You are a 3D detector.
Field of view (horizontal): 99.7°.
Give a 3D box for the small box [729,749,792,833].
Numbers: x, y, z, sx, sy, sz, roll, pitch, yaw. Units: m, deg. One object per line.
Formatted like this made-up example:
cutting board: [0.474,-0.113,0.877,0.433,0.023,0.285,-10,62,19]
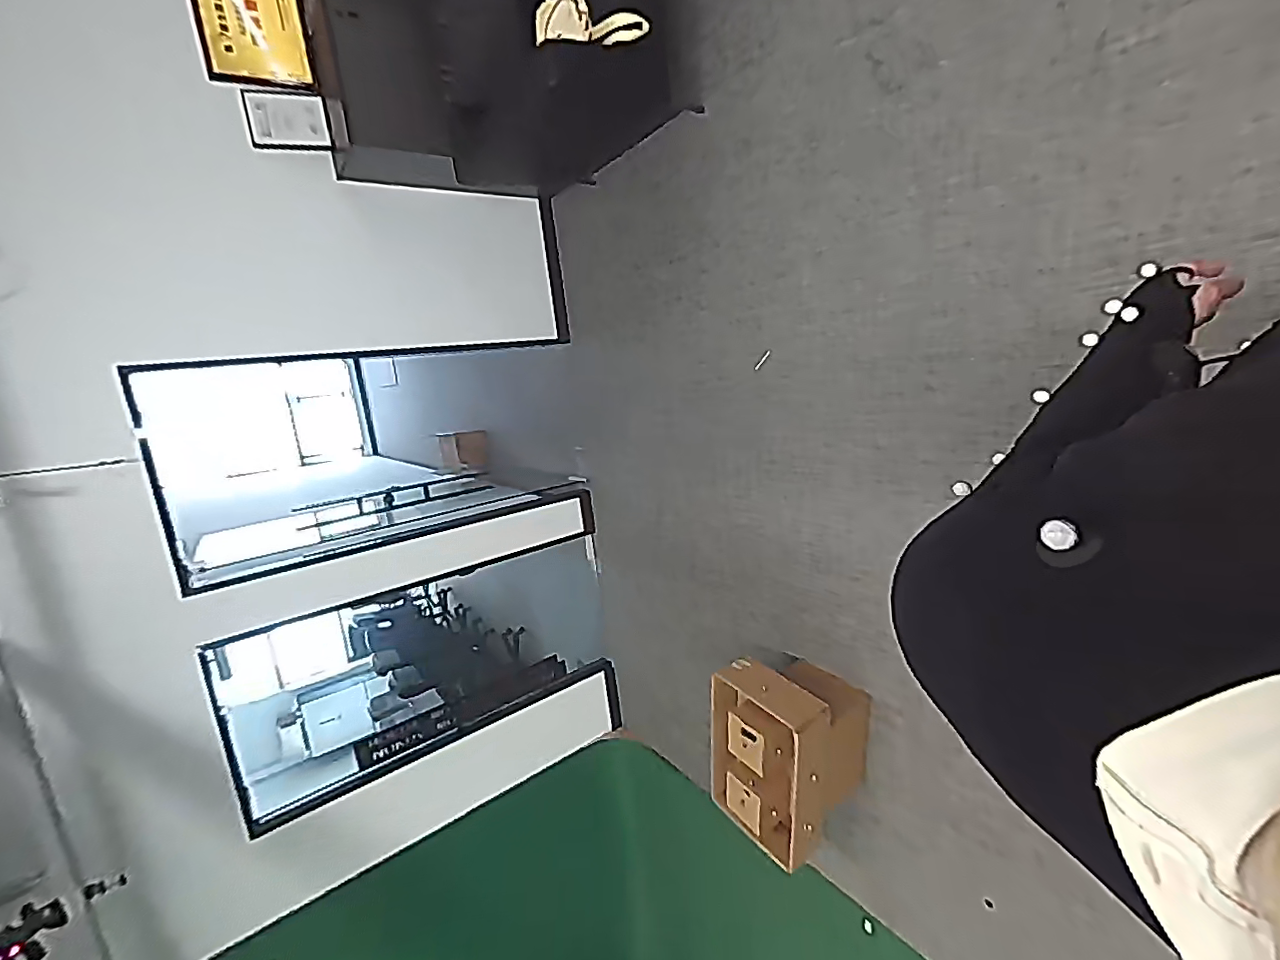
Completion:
small box: [0.449,1.151,2.012,0.168,0.176,0.179,20,118,52]
